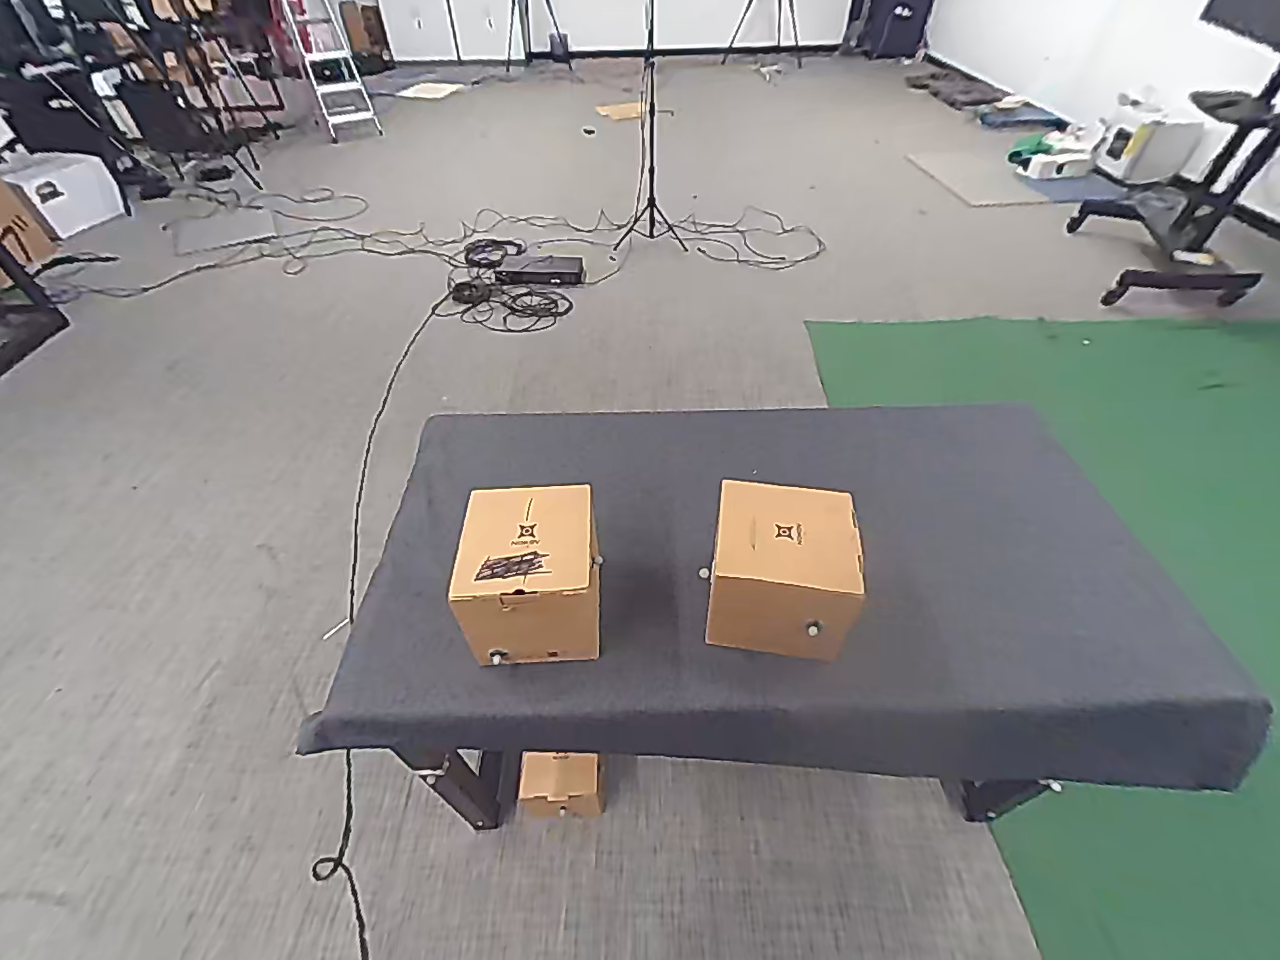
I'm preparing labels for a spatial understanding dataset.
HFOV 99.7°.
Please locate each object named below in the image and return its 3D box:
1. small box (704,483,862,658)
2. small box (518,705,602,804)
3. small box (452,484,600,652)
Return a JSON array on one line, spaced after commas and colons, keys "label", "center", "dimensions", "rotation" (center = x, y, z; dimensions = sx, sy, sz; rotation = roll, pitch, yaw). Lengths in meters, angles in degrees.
[{"label": "small box", "center": [0.188, 0.127, 0.750], "dimensions": [0.179, 0.176, 0.168], "rotation": [6, 46, 8]}, {"label": "small box", "center": [-0.178, 0.645, 1.265], "dimensions": [0.168, 0.176, 0.179], "rotation": [-1, 47, 0]}, {"label": "small box", "center": [-0.142, 0.126, 0.749], "dimensions": [0.168, 0.176, 0.179], "rotation": [-2, 45, -2]}]
